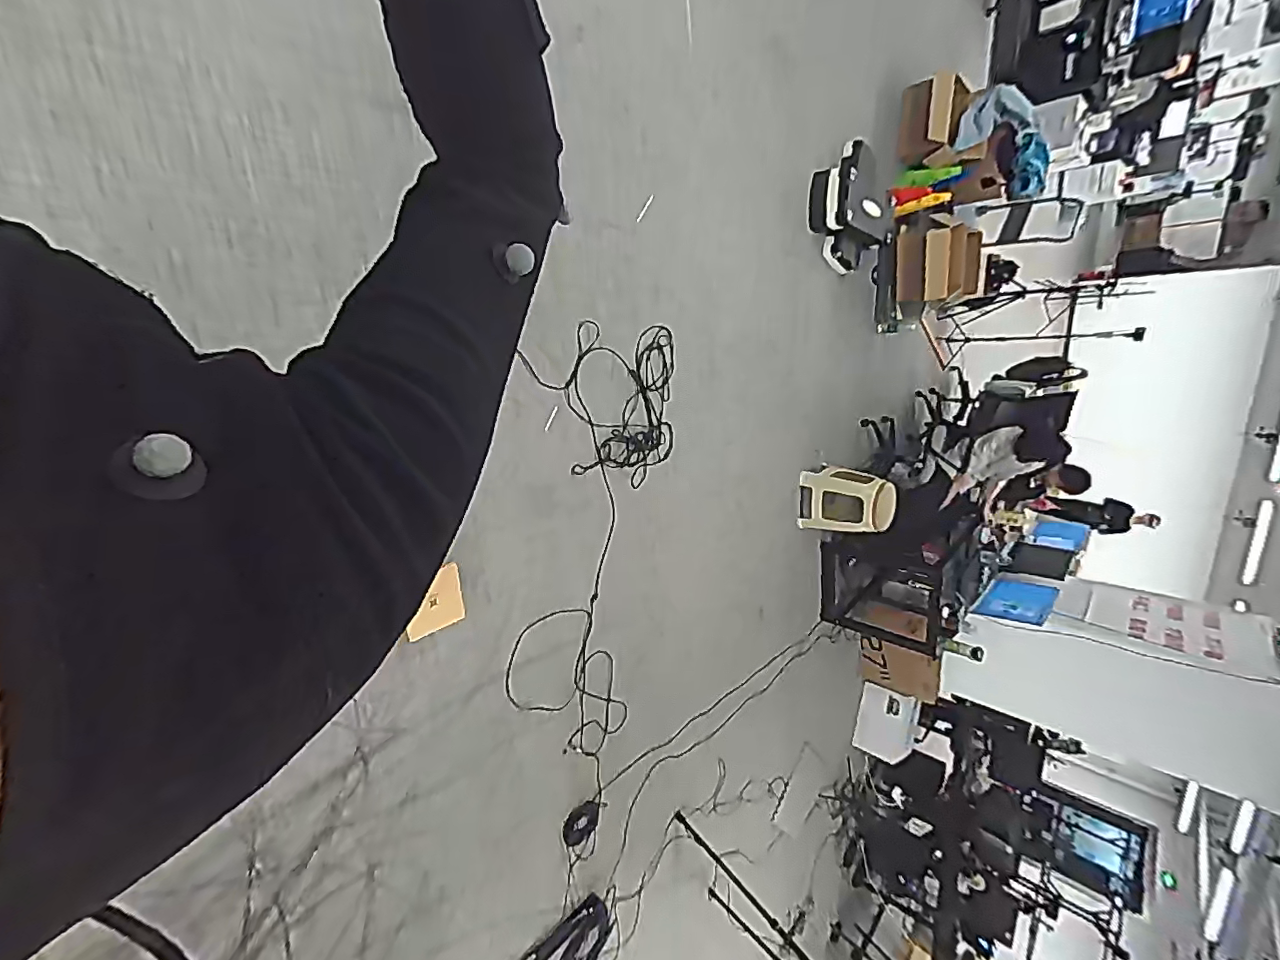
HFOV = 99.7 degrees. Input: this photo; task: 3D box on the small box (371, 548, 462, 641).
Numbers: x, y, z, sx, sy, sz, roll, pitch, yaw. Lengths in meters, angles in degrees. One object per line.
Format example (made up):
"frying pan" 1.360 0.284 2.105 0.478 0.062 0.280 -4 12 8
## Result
"small box" -0.617 0.307 1.492 0.168 0.176 0.179 -20 111 -43
